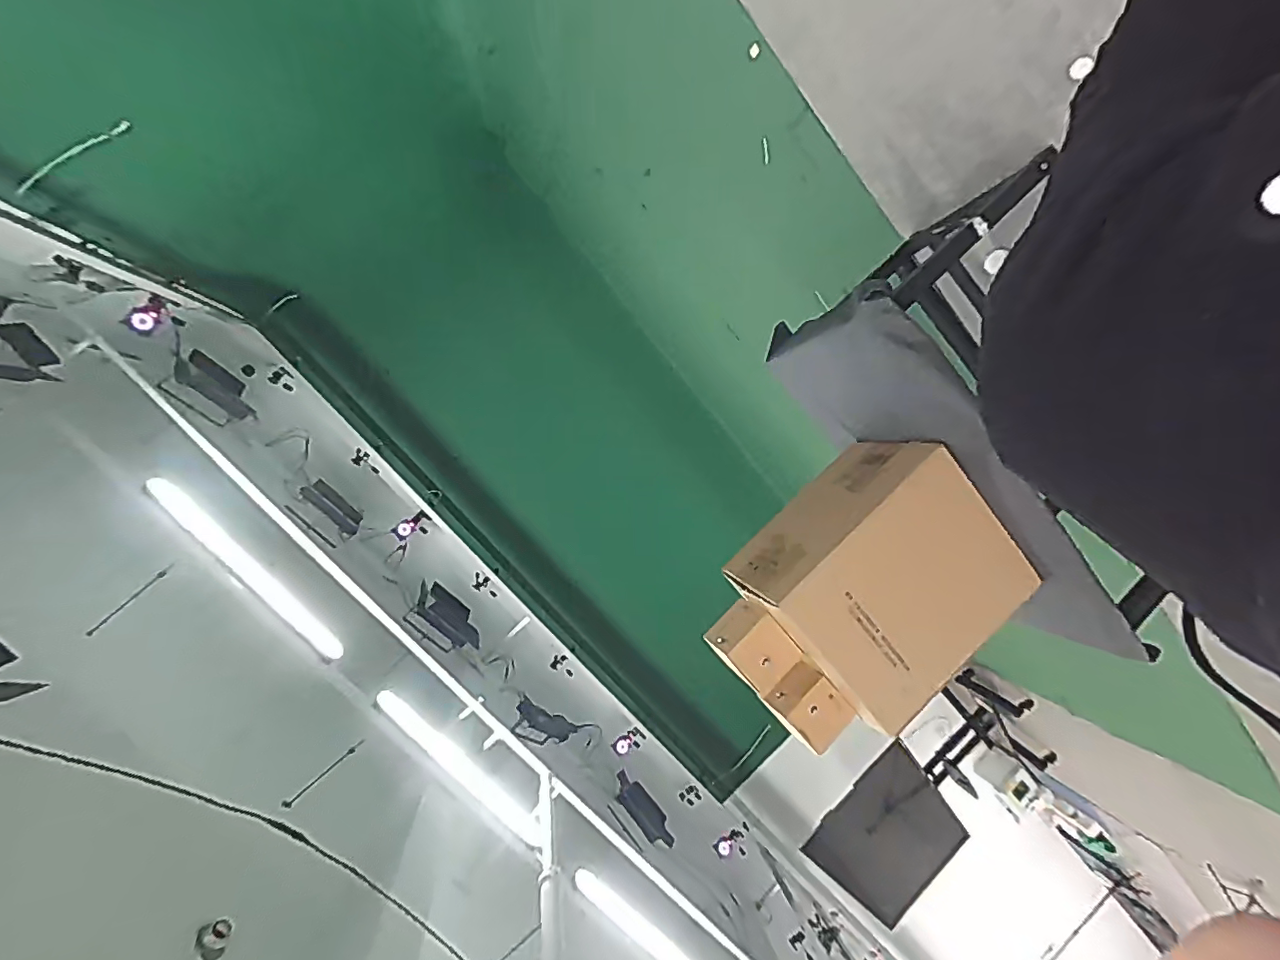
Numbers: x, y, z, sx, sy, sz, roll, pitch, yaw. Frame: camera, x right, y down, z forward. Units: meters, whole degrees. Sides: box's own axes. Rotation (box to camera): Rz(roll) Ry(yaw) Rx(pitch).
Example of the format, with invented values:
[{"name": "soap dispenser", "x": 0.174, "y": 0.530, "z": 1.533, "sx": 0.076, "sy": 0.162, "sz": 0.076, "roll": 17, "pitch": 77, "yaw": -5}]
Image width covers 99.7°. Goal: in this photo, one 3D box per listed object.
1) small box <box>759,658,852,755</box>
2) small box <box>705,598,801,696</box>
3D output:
[{"name": "small box", "x": 0.494, "y": 0.660, "z": 1.599, "sx": 0.168, "sy": 0.176, "sz": 0.179, "roll": 50, "pitch": 171, "yaw": -10}, {"name": "small box", "x": 0.326, "y": 0.472, "z": 1.553, "sx": 0.179, "sy": 0.176, "sz": 0.168, "roll": 48, "pitch": 170, "yaw": -12}]
